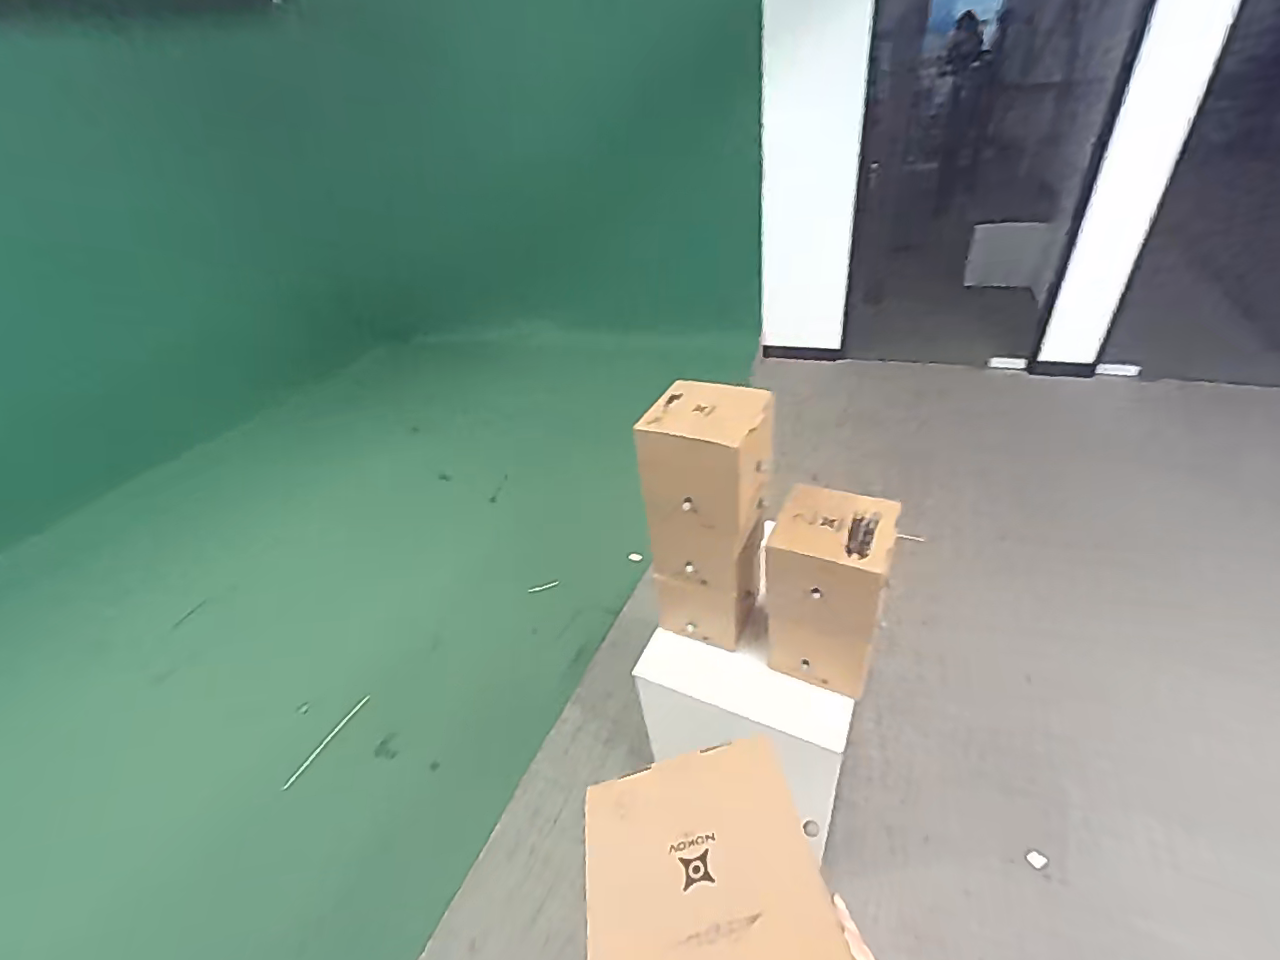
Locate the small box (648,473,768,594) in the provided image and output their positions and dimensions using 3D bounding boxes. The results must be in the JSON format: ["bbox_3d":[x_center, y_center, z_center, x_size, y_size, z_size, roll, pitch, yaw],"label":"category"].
[{"bbox_3d":[0.130,0.078,1.008,0.168,0.176,0.179,13,43,26],"label":"small box"}]

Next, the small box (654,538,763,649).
[{"bbox_3d":[0.144,0.208,1.106,0.168,0.176,0.179,13,43,25],"label":"small box"}]

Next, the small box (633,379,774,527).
[{"bbox_3d":[0.110,-0.045,0.900,0.179,0.176,0.168,14,43,26],"label":"small box"}]

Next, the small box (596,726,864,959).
[{"bbox_3d":[0.070,0.339,0.425,0.168,0.176,0.179,-19,26,3],"label":"small box"}]

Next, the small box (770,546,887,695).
[{"bbox_3d":[0.345,0.256,1.001,0.168,0.176,0.179,12,43,28],"label":"small box"}]
